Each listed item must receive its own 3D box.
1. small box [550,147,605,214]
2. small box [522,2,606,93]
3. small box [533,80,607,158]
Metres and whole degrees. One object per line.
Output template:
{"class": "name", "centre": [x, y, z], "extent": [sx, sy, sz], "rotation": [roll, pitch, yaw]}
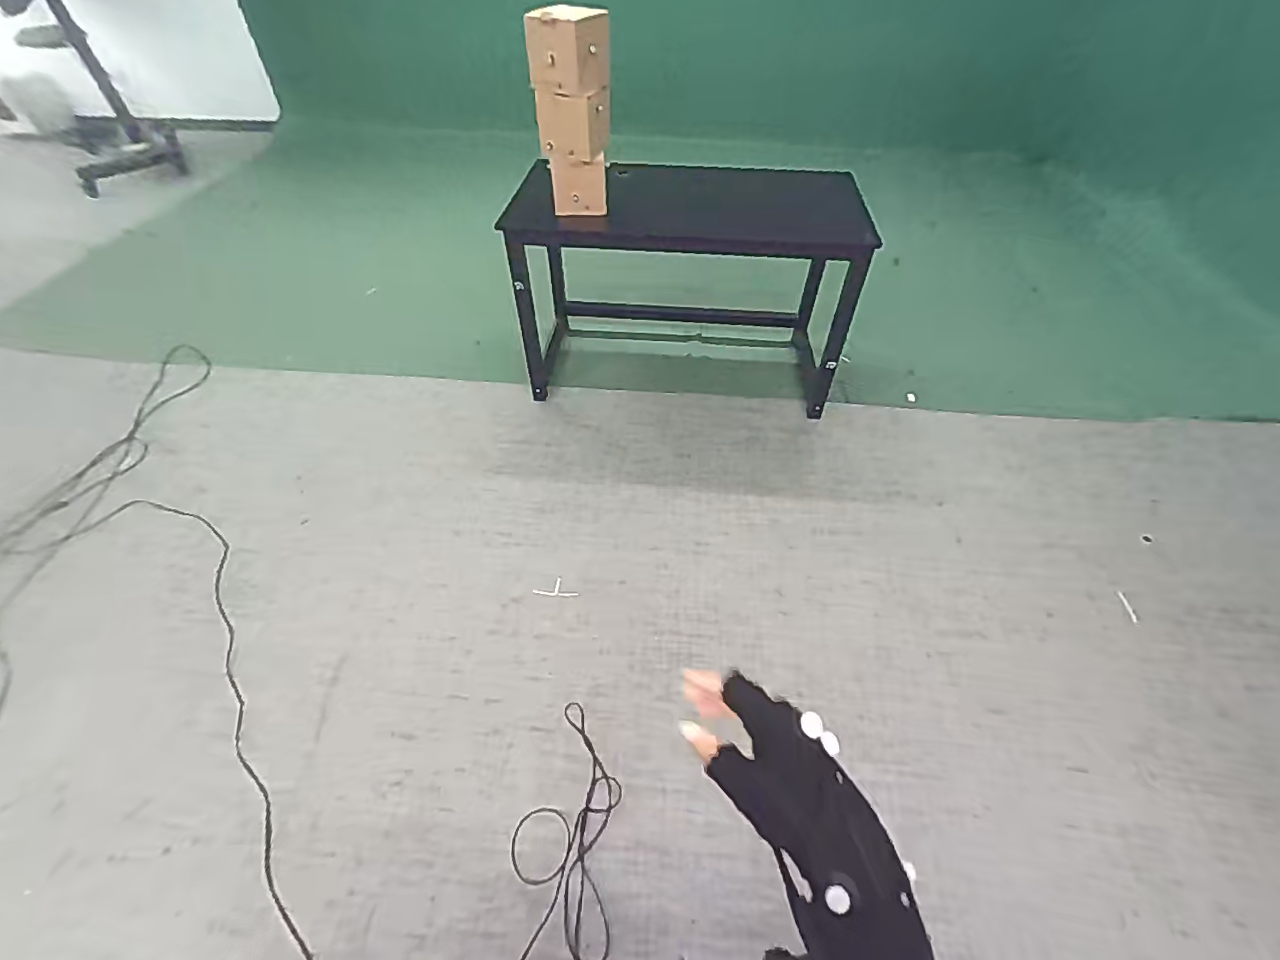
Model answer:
{"class": "small box", "centre": [-0.200, -0.991, 1.762], "extent": [0.168, 0.176, 0.179], "rotation": [-2, 50, -3]}
{"class": "small box", "centre": [-0.202, -1.213, 1.520], "extent": [0.168, 0.176, 0.179], "rotation": [24, 54, 17]}
{"class": "small box", "centre": [-0.202, -1.100, 1.639], "extent": [0.168, 0.176, 0.179], "rotation": [15, 50, 11]}
